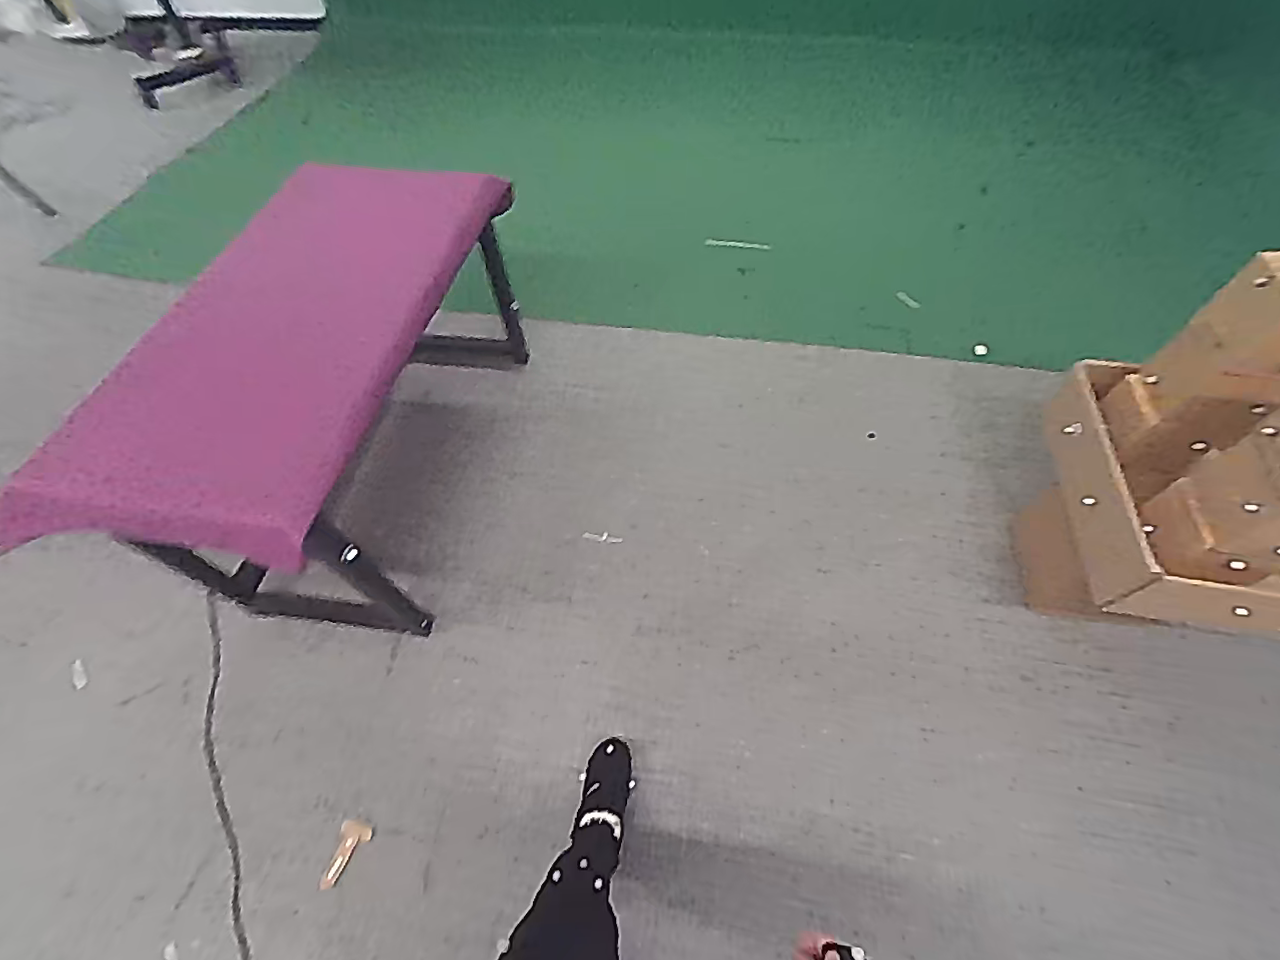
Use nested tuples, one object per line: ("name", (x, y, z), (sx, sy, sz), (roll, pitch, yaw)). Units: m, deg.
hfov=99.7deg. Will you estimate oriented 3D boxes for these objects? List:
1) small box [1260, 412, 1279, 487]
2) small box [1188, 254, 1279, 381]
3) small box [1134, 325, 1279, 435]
("small box", (1.199, -0.058, 0.887), (0.179, 0.176, 0.168), (10, 58, 8))
("small box", (1.256, -0.311, 1.056), (0.179, 0.176, 0.168), (8, 56, 5))
("small box", (1.262, -0.219, 1.192), (0.179, 0.176, 0.168), (10, 56, 9))
